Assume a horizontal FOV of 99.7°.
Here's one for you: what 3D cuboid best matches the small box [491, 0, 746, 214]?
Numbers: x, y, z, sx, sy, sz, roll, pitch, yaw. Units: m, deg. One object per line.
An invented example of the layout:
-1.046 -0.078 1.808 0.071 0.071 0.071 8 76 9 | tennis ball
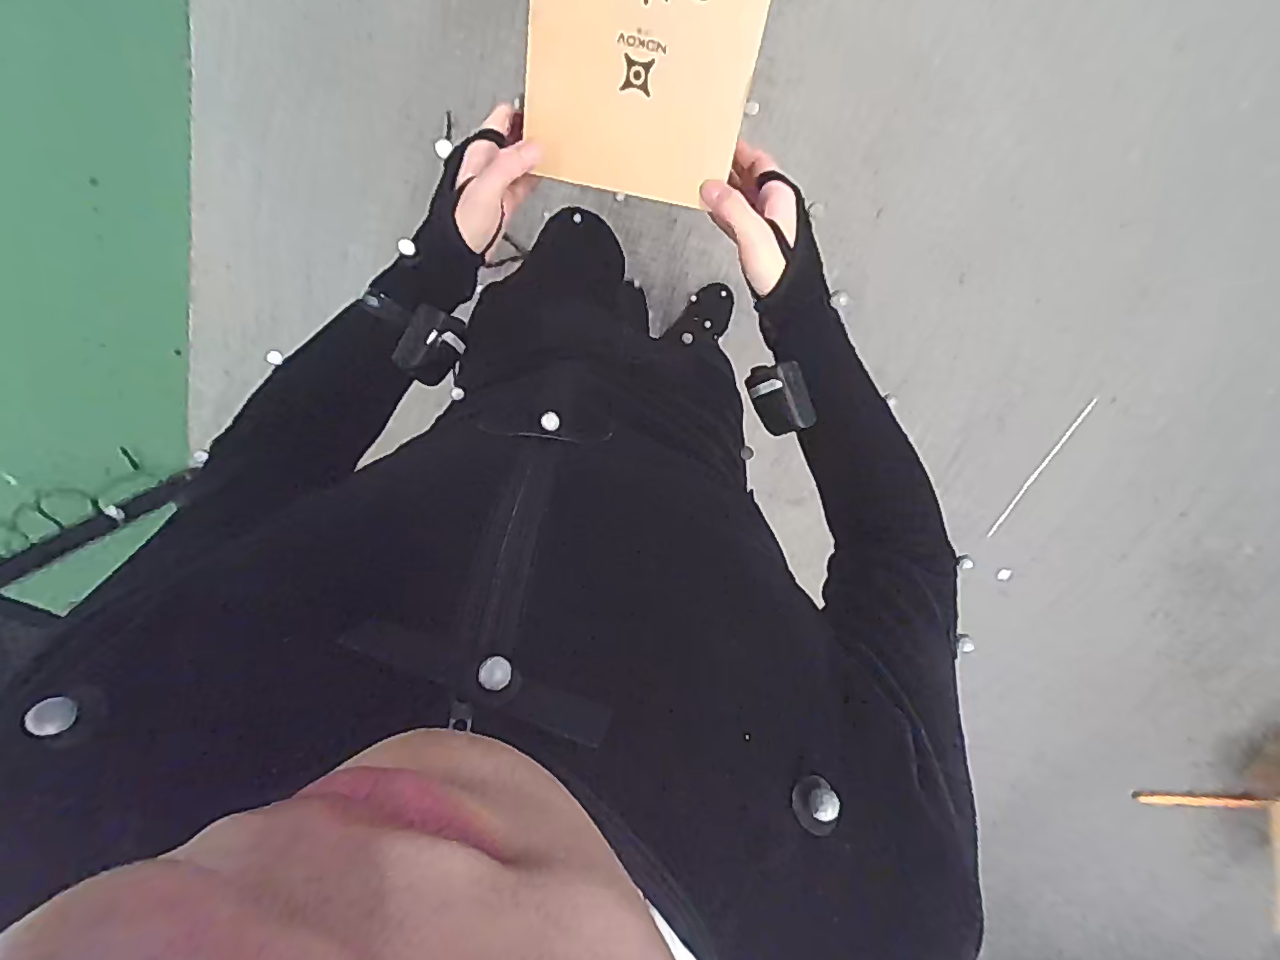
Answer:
-0.016 -0.342 0.443 0.168 0.176 0.179 10 123 -6 | small box
